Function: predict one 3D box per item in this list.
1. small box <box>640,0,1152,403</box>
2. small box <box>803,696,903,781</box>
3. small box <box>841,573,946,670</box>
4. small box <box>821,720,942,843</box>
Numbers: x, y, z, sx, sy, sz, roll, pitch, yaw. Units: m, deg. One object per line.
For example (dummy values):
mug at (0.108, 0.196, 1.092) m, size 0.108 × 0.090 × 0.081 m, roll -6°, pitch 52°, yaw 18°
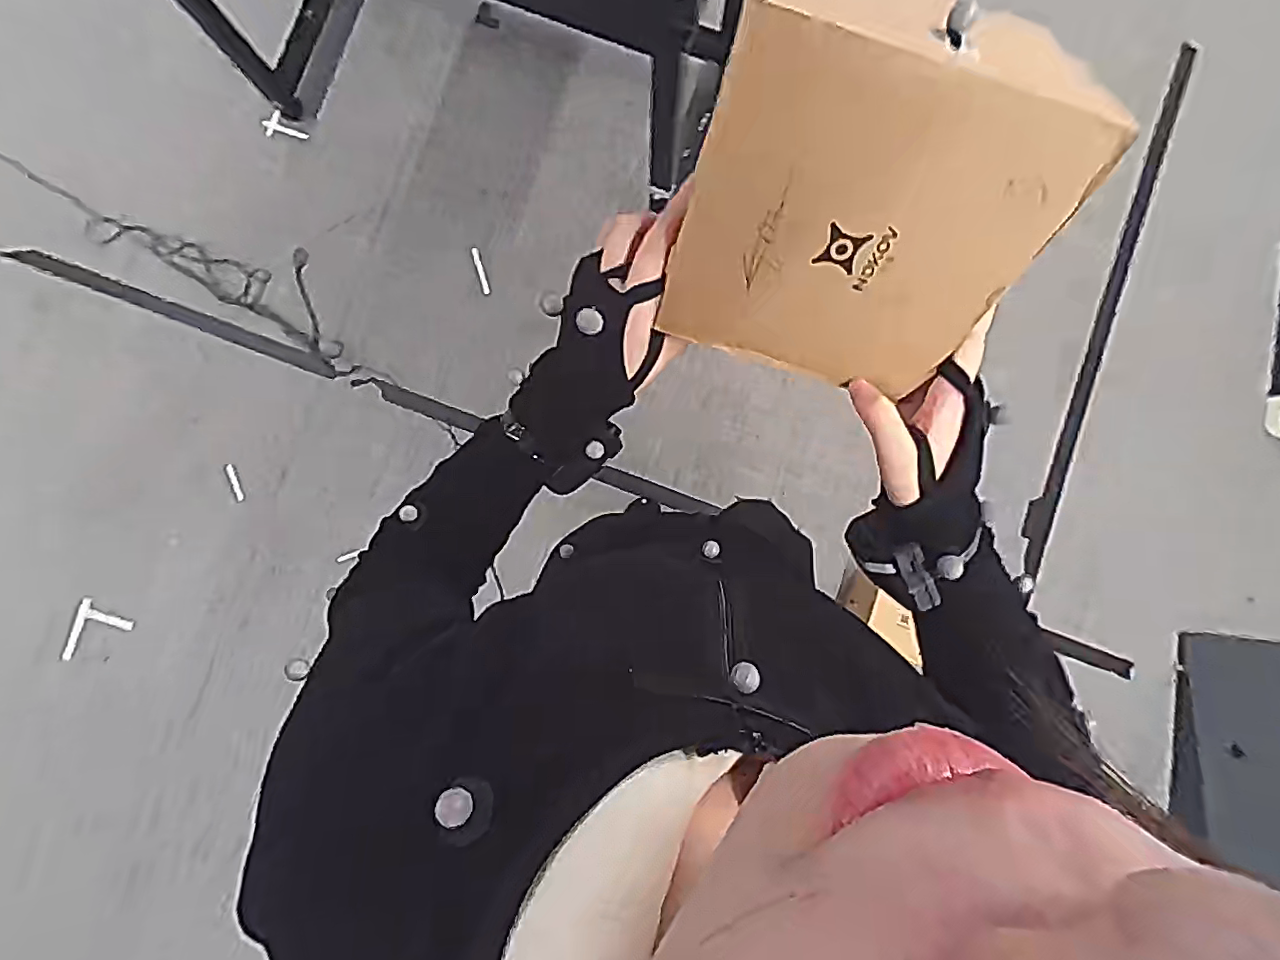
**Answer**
small box at (0.113, -0.177, 0.313) m, size 0.179 × 0.168 × 0.176 m, roll 15°, pitch 52°, yaw -4°
small box at (0.536, 0.674, 1.384) m, size 0.179 × 0.176 × 0.168 m, roll 13°, pitch 88°, yaw 0°
small box at (0.643, 0.356, 1.395) m, size 0.168 × 0.176 × 0.179 m, roll 20°, pitch 89°, yaw 1°
small box at (0.535, 0.668, 1.219) m, size 0.179 × 0.176 × 0.168 m, roll 14°, pitch 87°, yaw 1°
